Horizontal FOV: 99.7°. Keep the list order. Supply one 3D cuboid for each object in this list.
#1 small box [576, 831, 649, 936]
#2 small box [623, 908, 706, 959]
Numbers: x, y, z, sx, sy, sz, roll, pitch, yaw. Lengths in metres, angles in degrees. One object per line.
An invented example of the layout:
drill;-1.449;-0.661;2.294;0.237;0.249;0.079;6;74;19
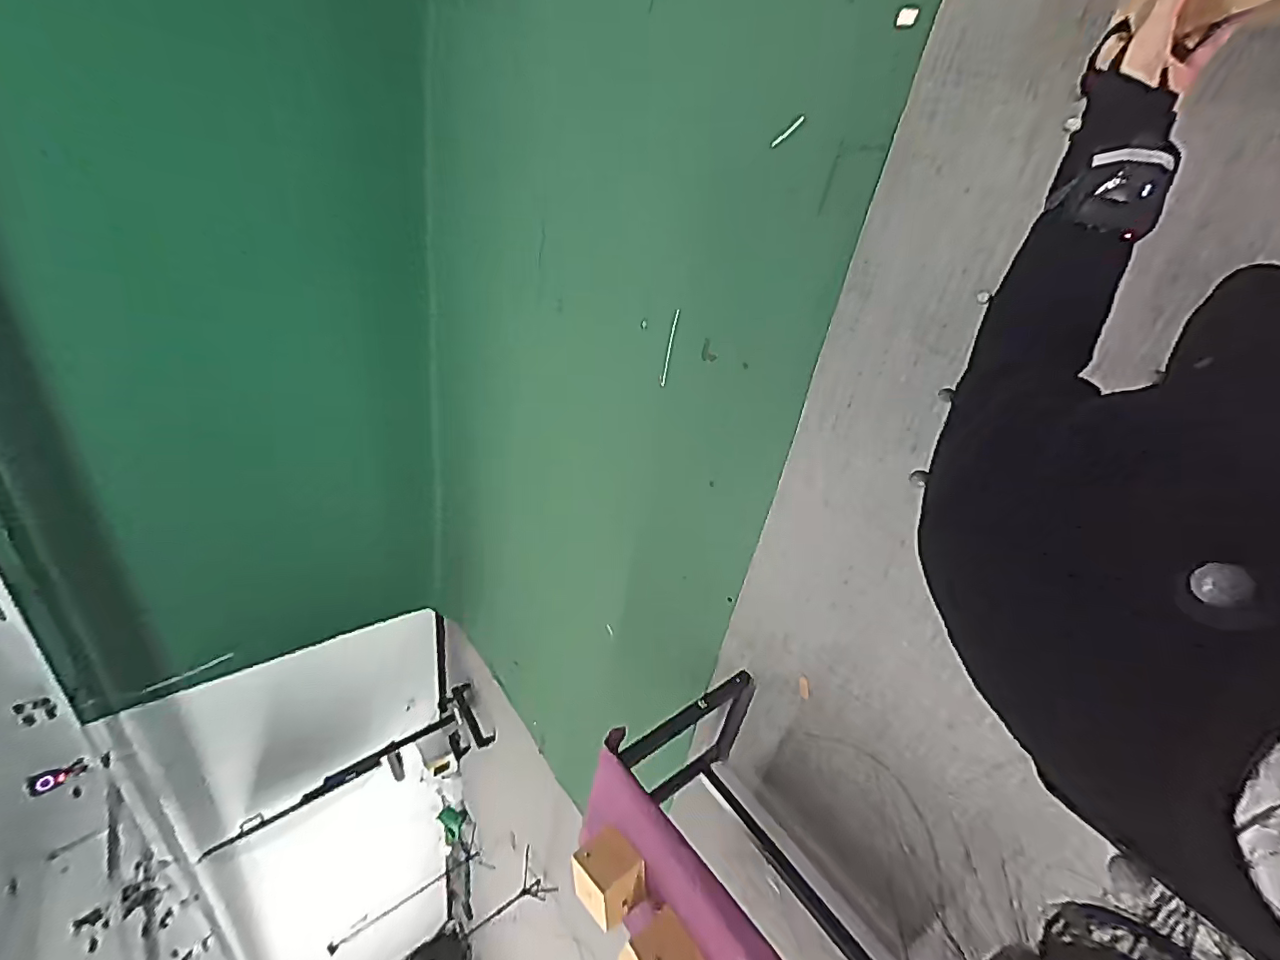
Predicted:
small box;-0.082;1.280;1.731;0.179;0.176;0.168;15;113;49
small box;0.075;1.416;1.578;0.179;0.176;0.168;43;131;36
